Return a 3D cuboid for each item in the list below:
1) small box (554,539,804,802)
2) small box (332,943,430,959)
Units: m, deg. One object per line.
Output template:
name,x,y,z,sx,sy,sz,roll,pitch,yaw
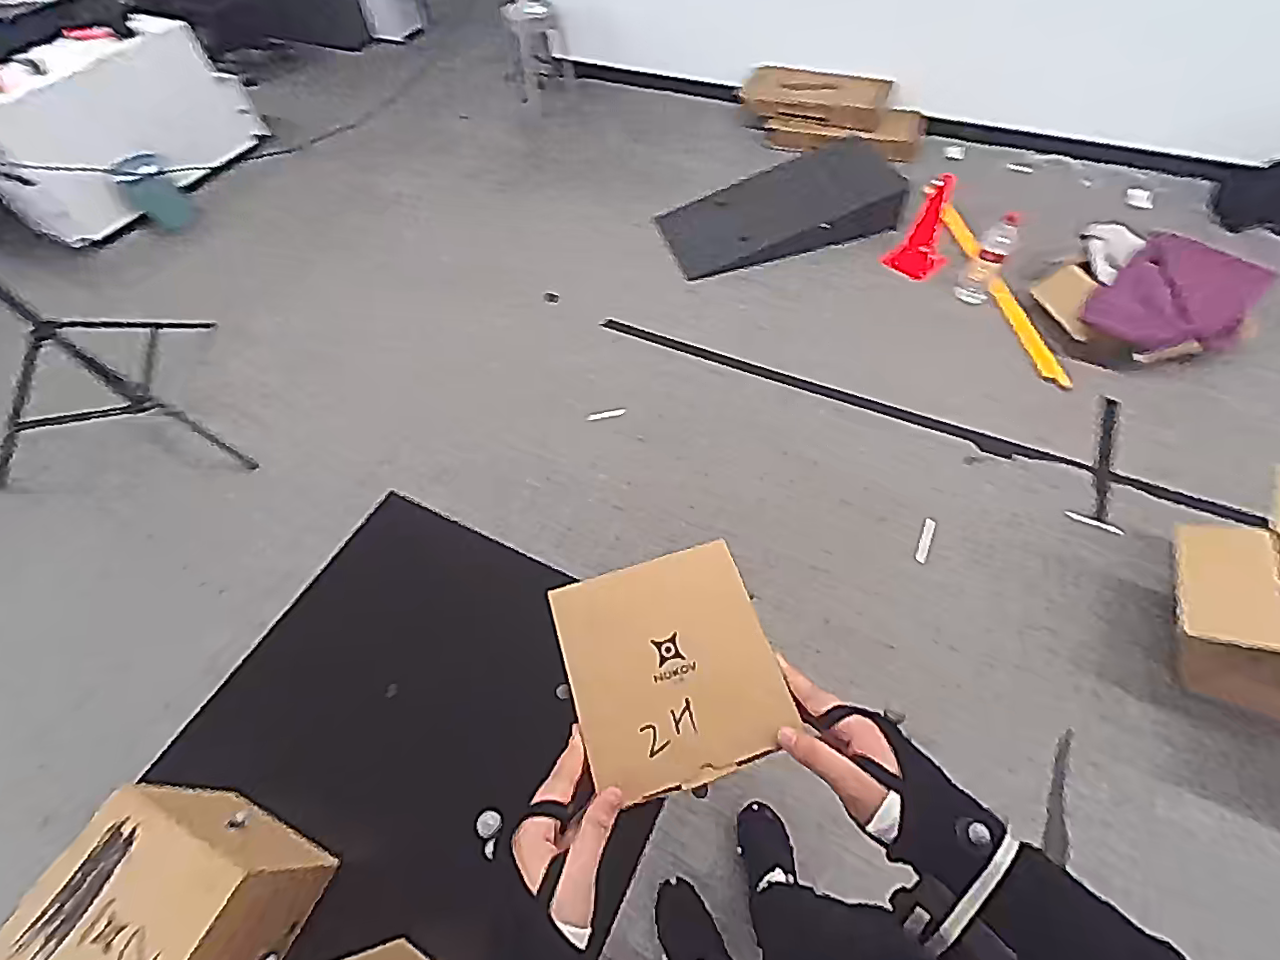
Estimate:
small box,0.025,0.184,0.509,0.168,0.176,0.179,-15,61,-7
small box,-0.234,0.541,0.452,0.168,0.176,0.179,21,60,16
